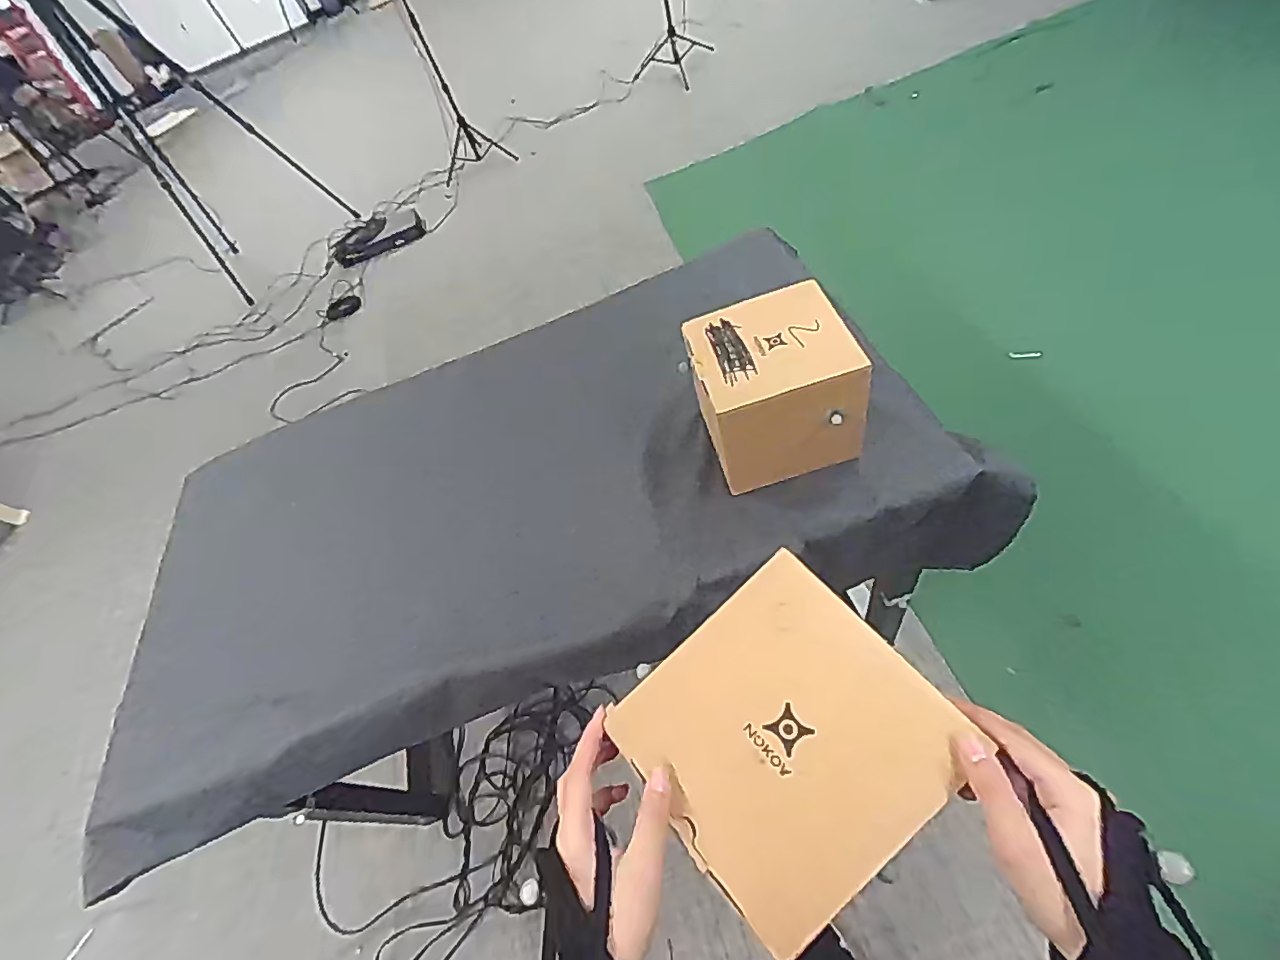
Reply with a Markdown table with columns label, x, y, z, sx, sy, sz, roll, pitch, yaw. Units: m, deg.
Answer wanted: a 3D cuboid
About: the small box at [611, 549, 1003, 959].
| label | x | y | z | sx | sy | sz | roll | pitch | yaw |
| --- | --- | --- | --- | --- | --- | --- | --- | --- | --- |
| small box | 0.110 | 0.182 | 0.402 | 0.179 | 0.176 | 0.168 | -43 | 65 | -3 |
